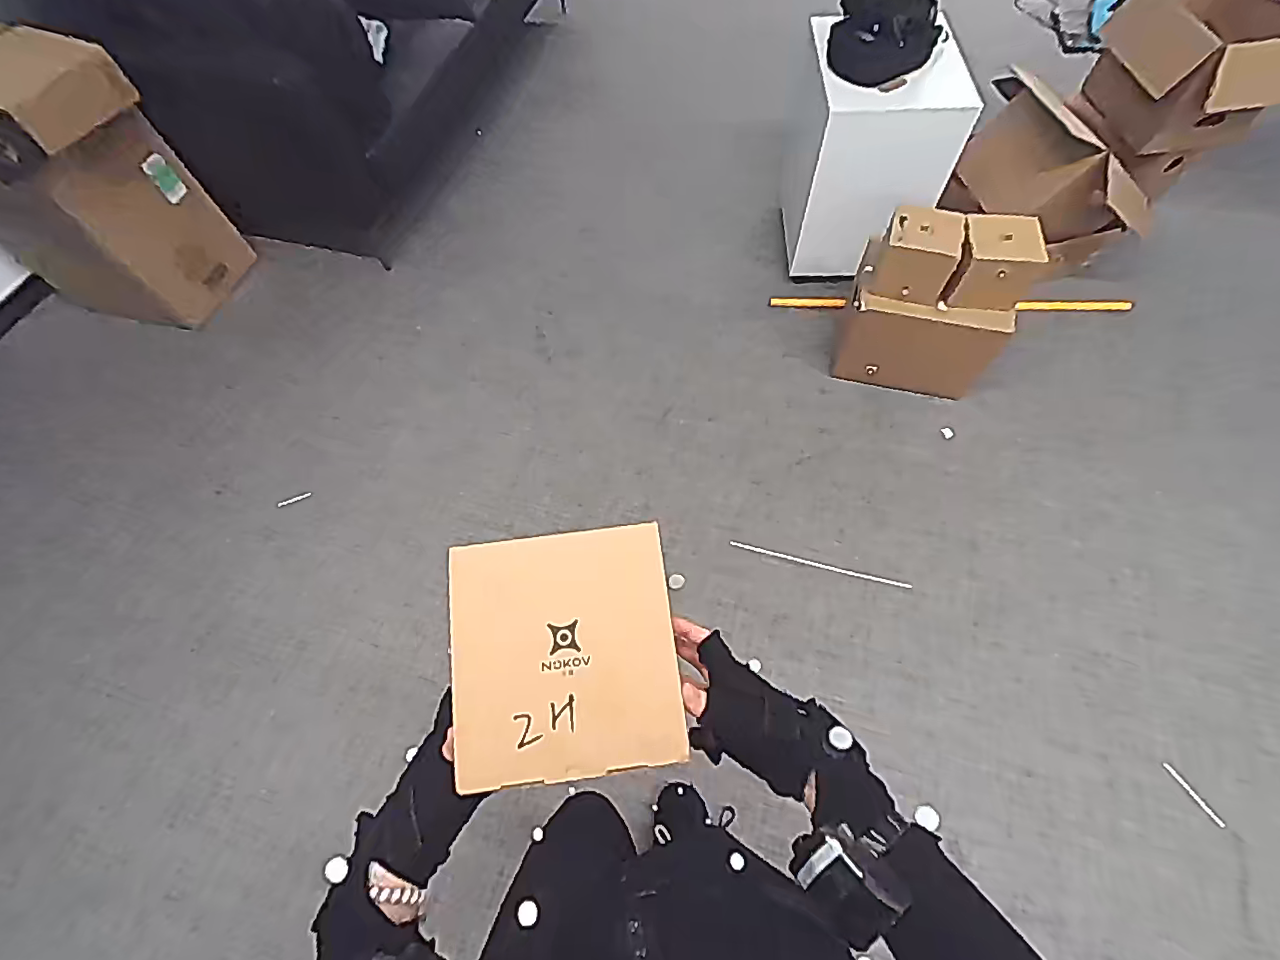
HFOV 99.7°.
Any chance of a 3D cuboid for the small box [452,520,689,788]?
[{"bbox_3d":[-0.056,0.144,0.470,0.168,0.176,0.179,-6,73,-2],"label":"small box"}]
